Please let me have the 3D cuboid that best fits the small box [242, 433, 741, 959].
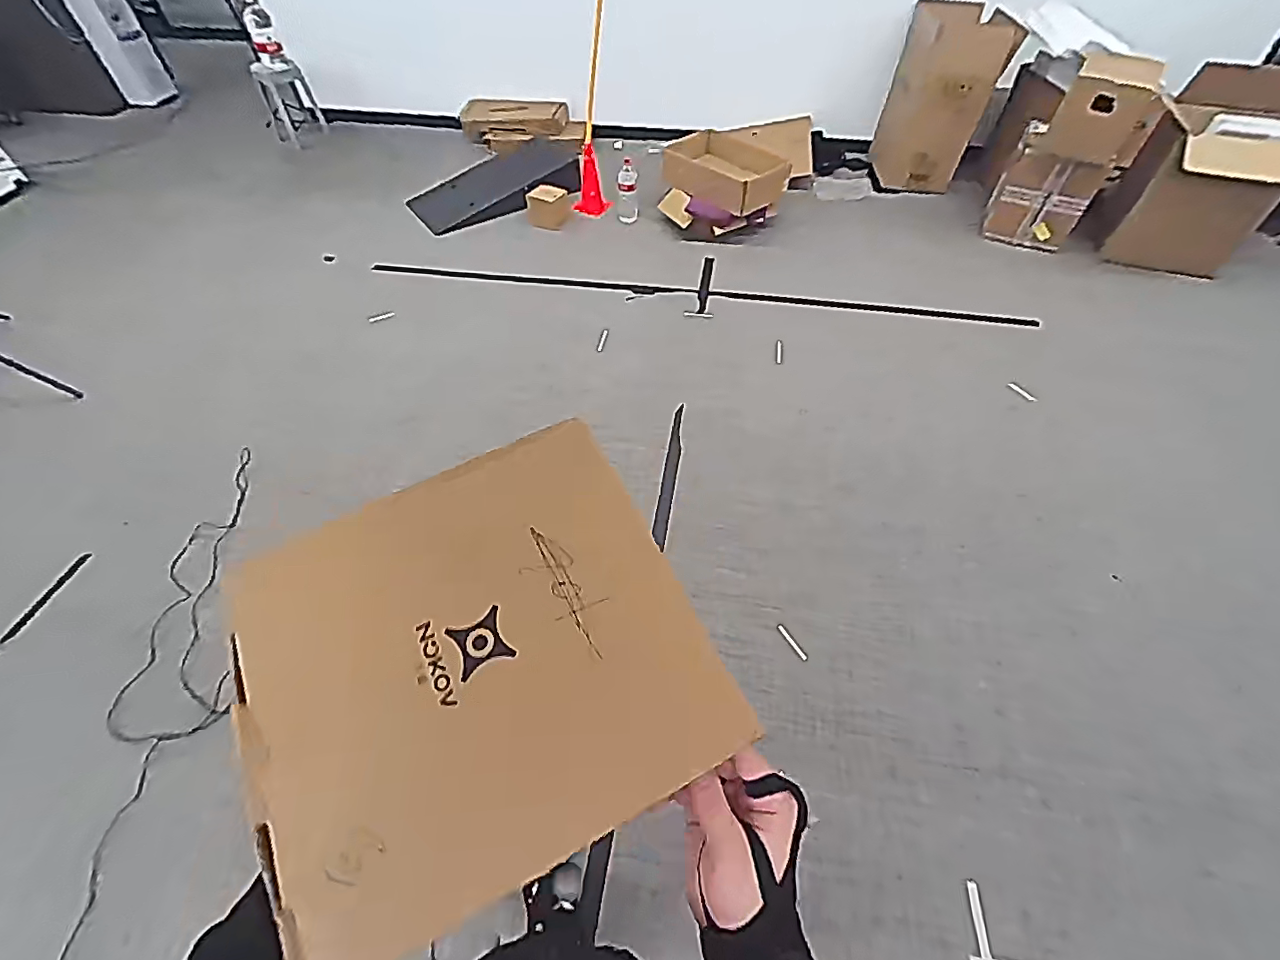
[{"bbox_3d":[-0.068,0.110,0.304,0.179,0.176,0.168,-26,66,-12],"label":"small box"}]
